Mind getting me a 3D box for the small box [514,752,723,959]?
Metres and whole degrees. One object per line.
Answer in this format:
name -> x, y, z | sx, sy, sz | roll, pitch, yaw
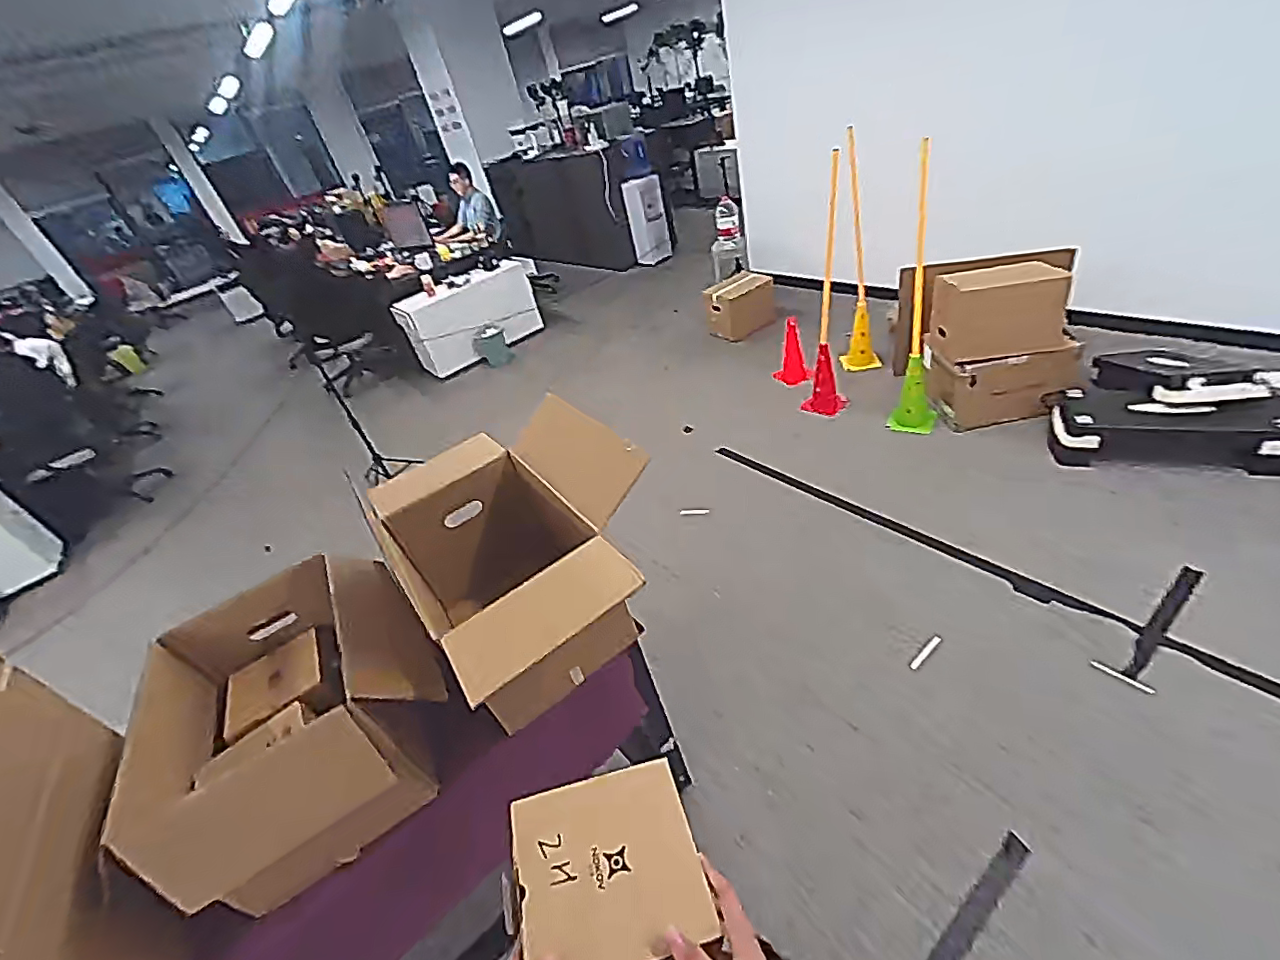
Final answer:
small box -> -0.027, 0.430, 0.578 | 0.179, 0.176, 0.168 | -12, 40, -11
